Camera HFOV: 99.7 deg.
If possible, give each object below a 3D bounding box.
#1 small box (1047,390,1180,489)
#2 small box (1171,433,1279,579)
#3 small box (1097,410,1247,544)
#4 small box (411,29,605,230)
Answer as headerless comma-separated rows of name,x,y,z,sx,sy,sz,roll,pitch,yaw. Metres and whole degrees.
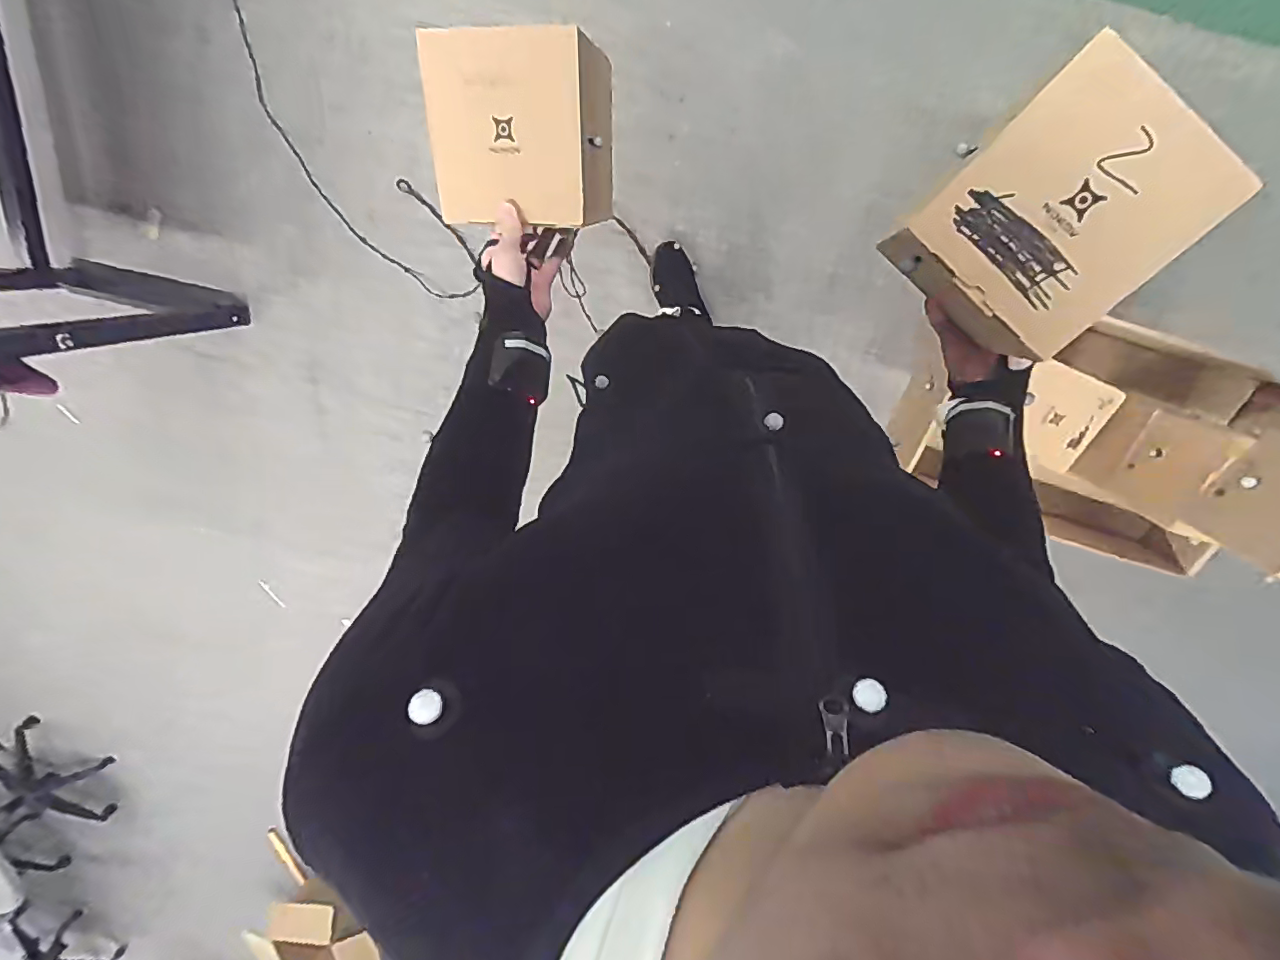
small box,0.954,-0.062,1.046,0.179,0.176,0.168,17,112,0
small box,0.921,0.055,0.743,0.179,0.176,0.168,26,113,-2
small box,0.934,-0.003,0.896,0.179,0.176,0.168,17,113,1
small box,-0.136,-0.399,0.632,0.168,0.176,0.179,5,120,6
